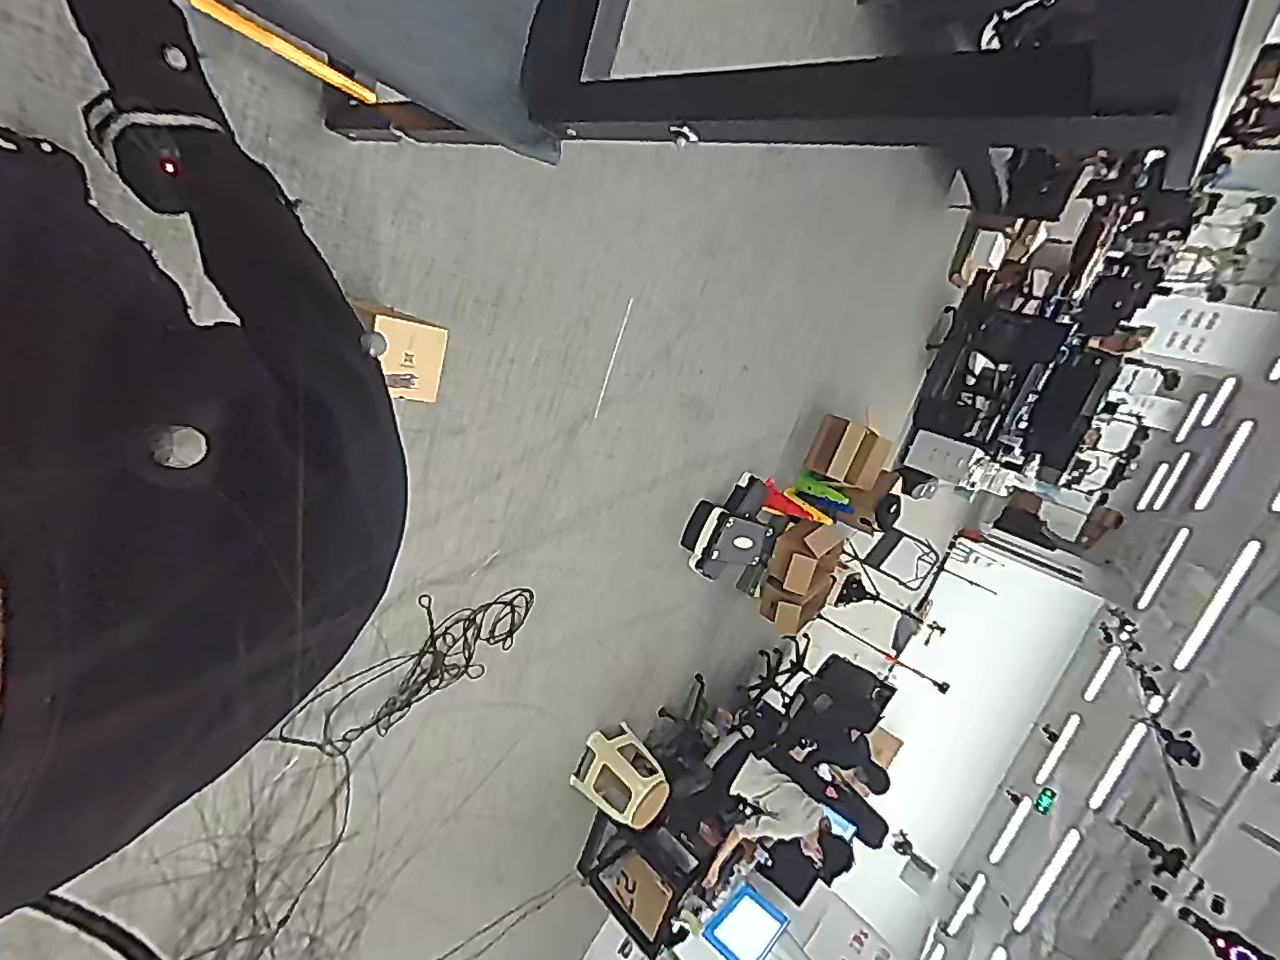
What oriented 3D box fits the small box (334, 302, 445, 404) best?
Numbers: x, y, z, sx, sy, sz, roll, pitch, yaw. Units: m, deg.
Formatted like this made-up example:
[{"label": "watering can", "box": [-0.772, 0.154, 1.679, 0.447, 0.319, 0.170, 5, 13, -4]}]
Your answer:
[{"label": "small box", "box": [-0.575, -0.289, 1.232, 0.168, 0.176, 0.179, -1, 112, -50]}]
